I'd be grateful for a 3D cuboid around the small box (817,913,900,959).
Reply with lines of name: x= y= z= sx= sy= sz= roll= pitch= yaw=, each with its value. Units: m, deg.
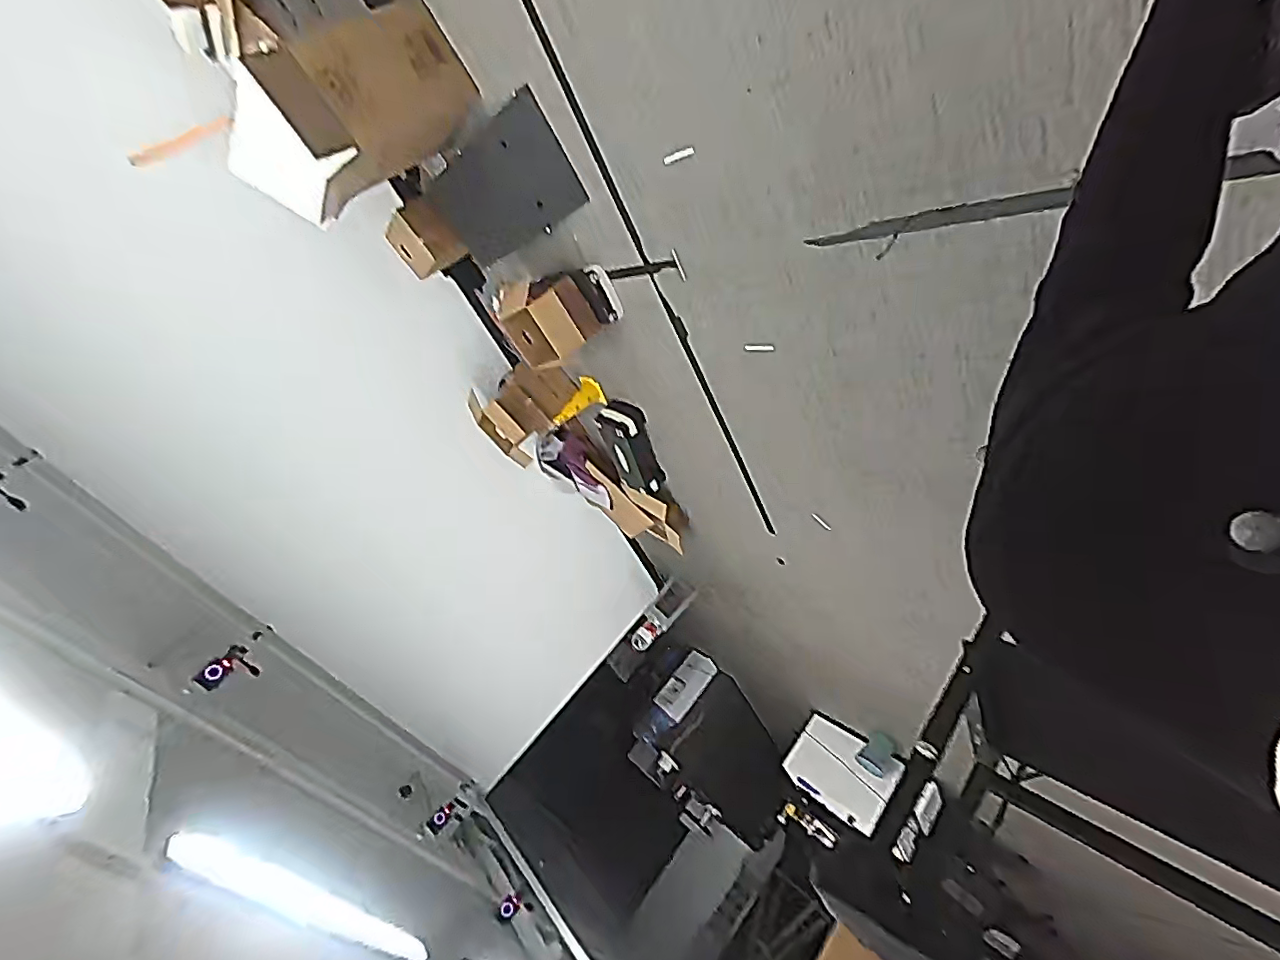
small box: x=0.511 y=1.137 z=1.222 sx=0.168 sy=0.176 sz=0.179 roll=16 pitch=146 yaw=48
